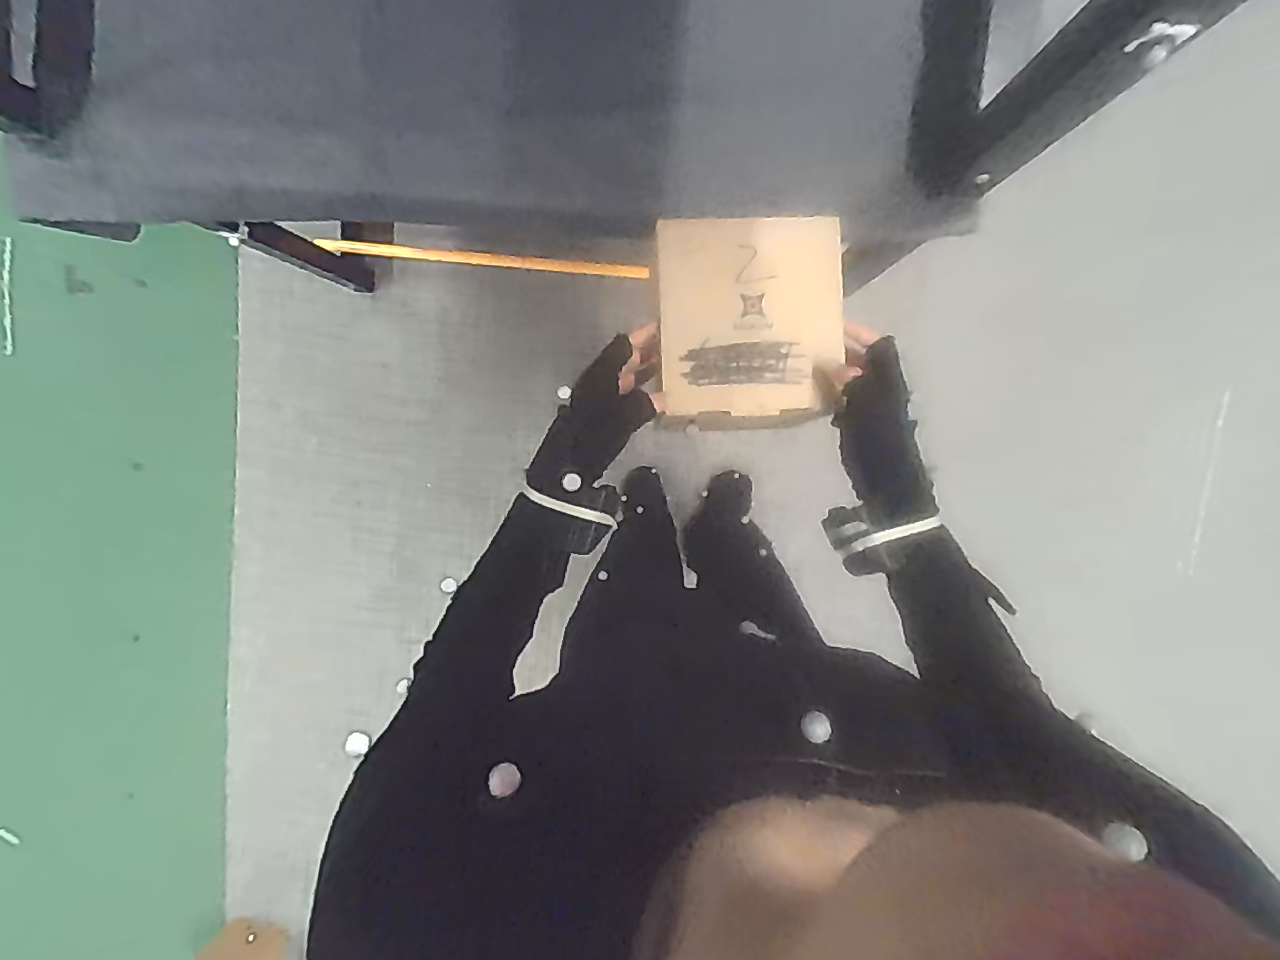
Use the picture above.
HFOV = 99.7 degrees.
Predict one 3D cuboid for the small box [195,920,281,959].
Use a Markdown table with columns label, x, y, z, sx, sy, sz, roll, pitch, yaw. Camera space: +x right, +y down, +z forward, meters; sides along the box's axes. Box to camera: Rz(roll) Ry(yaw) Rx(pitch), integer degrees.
| label | x | y | z | sx | sy | sz | roll | pitch | yaw |
| --- | --- | --- | --- | --- | --- | --- | --- | --- | --- |
| small box | -1.162 | 1.419 | 1.543 | 0.168 | 0.176 | 0.179 | 7 | 95 | 2 |
